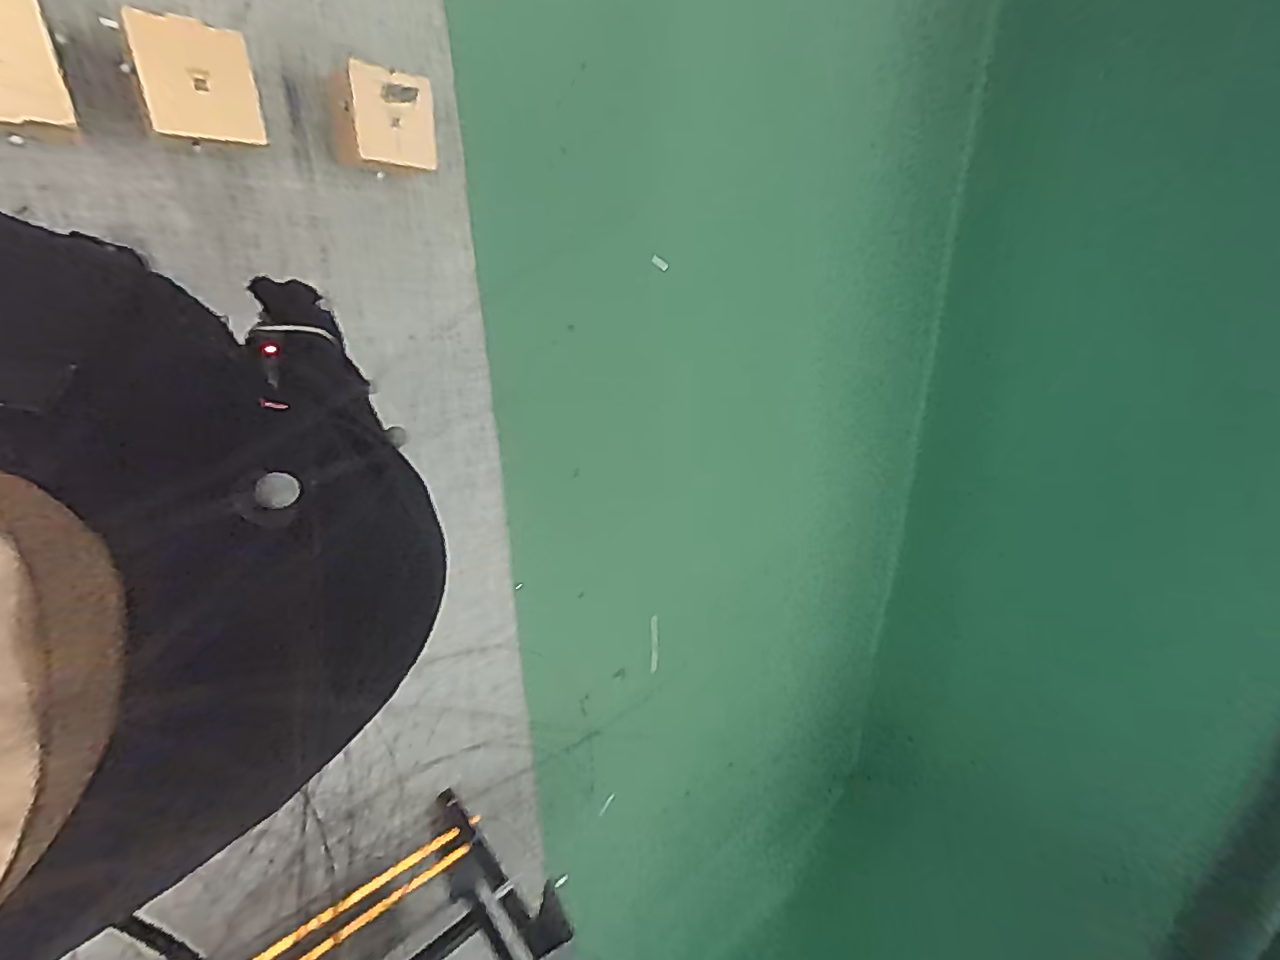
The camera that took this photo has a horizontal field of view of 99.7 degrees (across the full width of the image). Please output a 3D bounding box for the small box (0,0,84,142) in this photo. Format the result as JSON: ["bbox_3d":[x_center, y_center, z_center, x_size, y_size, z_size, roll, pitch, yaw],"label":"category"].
[{"bbox_3d":[-0.997,-0.642,0.827,0.168,0.176,0.179,-18,117,-37],"label":"small box"}]

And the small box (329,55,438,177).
[{"bbox_3d":[-0.564,-0.785,1.187,0.168,0.176,0.179,-14,116,-39],"label":"small box"}]

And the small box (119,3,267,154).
[{"bbox_3d":[-0.808,-0.711,0.985,0.168,0.176,0.179,-19,118,-38],"label":"small box"}]
